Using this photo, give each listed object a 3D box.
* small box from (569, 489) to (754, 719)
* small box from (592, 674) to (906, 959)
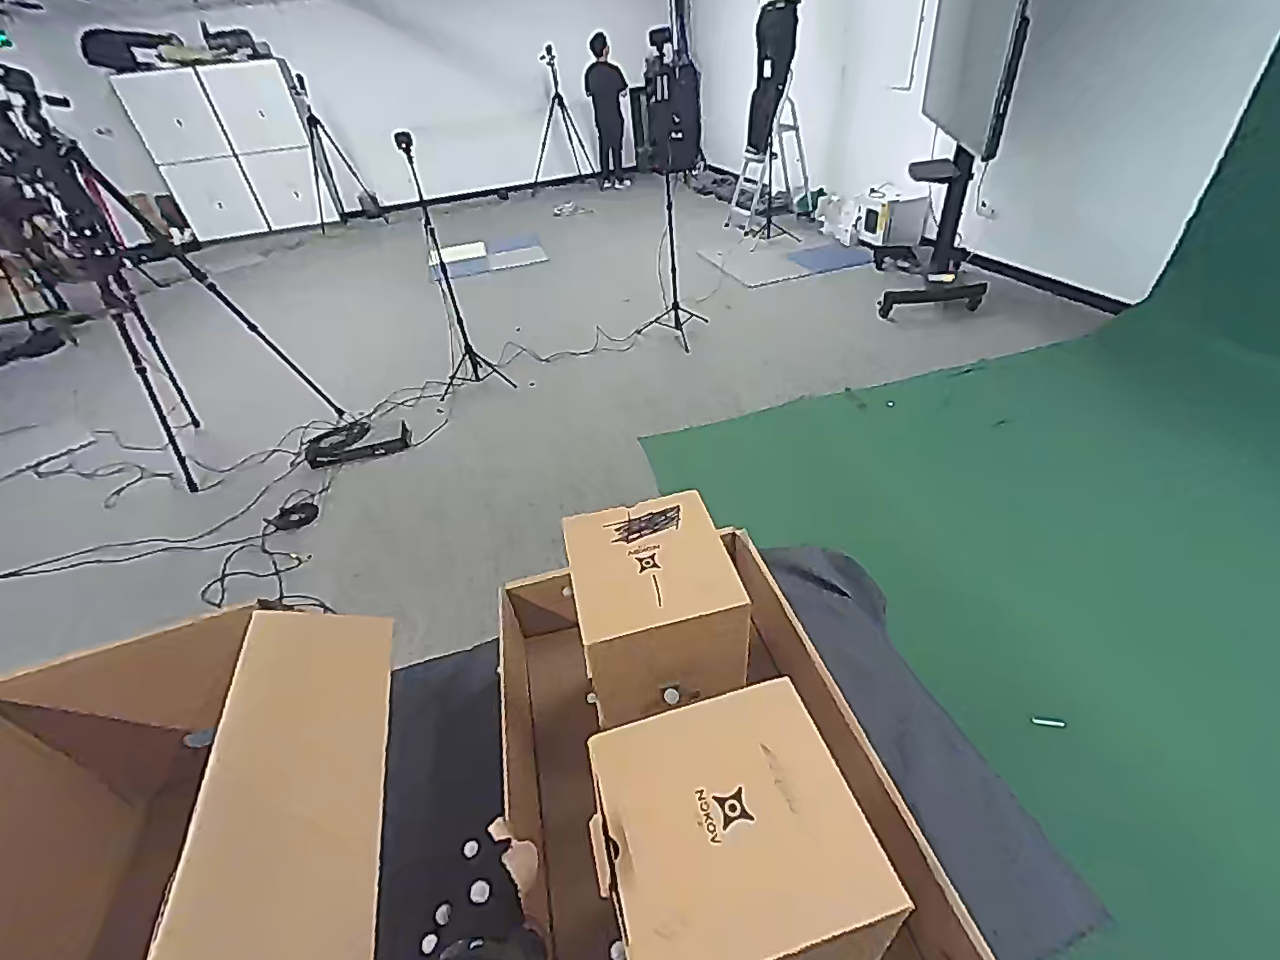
[{"bbox_3d":[0.019,0.140,0.623,0.168,0.176,0.179,-13,42,-6],"label":"small box"},{"bbox_3d":[0.073,0.293,0.430,0.179,0.176,0.168,-14,39,-8],"label":"small box"}]
